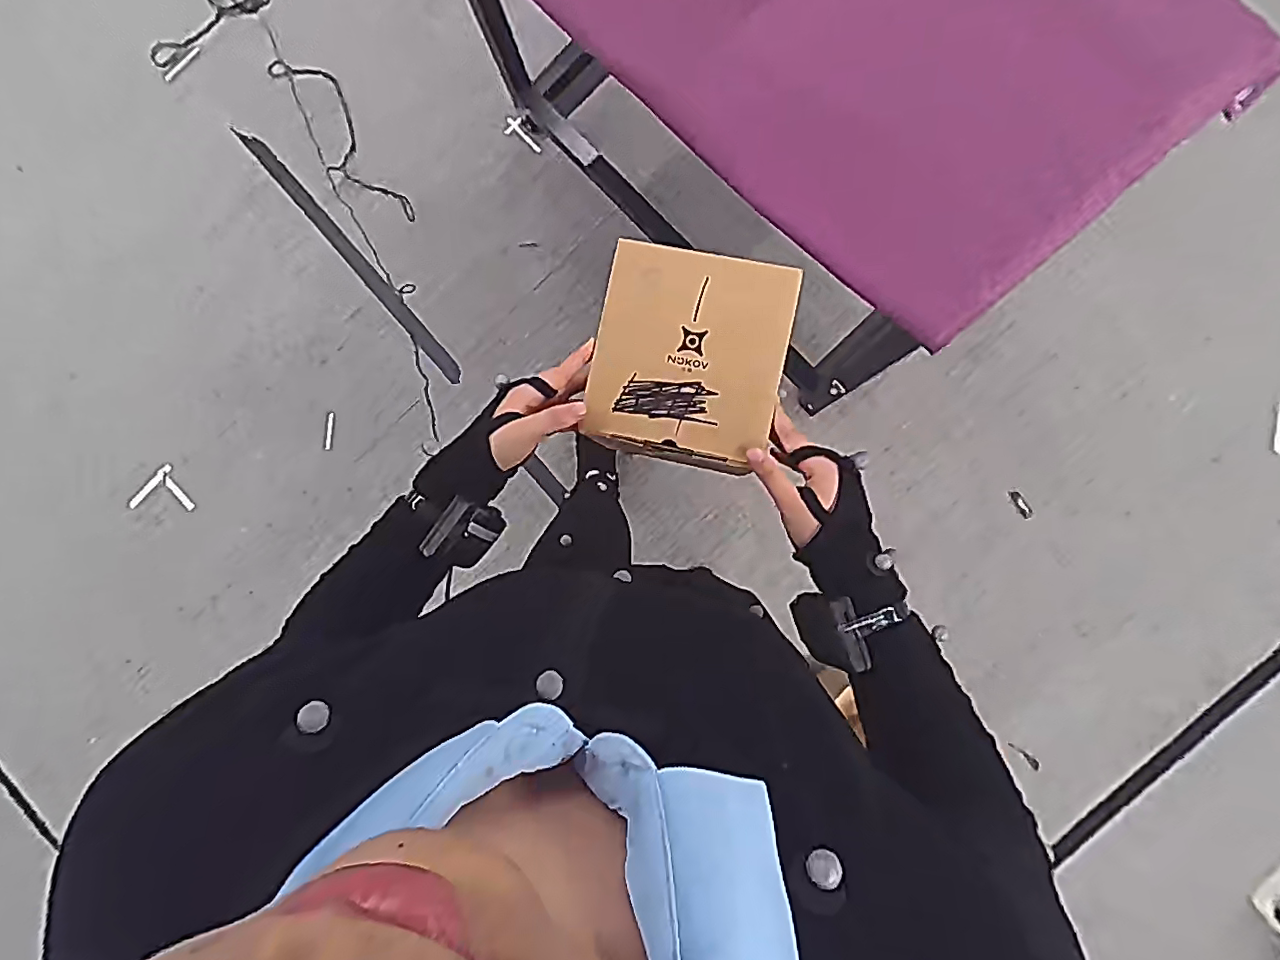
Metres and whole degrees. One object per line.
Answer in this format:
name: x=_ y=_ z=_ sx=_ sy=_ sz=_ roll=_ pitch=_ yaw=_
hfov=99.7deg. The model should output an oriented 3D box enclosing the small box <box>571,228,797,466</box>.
small box: x=0.044 y=-0.116 z=0.543 sx=0.168 sy=0.176 sz=0.179 roll=13 pitch=88 yaw=5
